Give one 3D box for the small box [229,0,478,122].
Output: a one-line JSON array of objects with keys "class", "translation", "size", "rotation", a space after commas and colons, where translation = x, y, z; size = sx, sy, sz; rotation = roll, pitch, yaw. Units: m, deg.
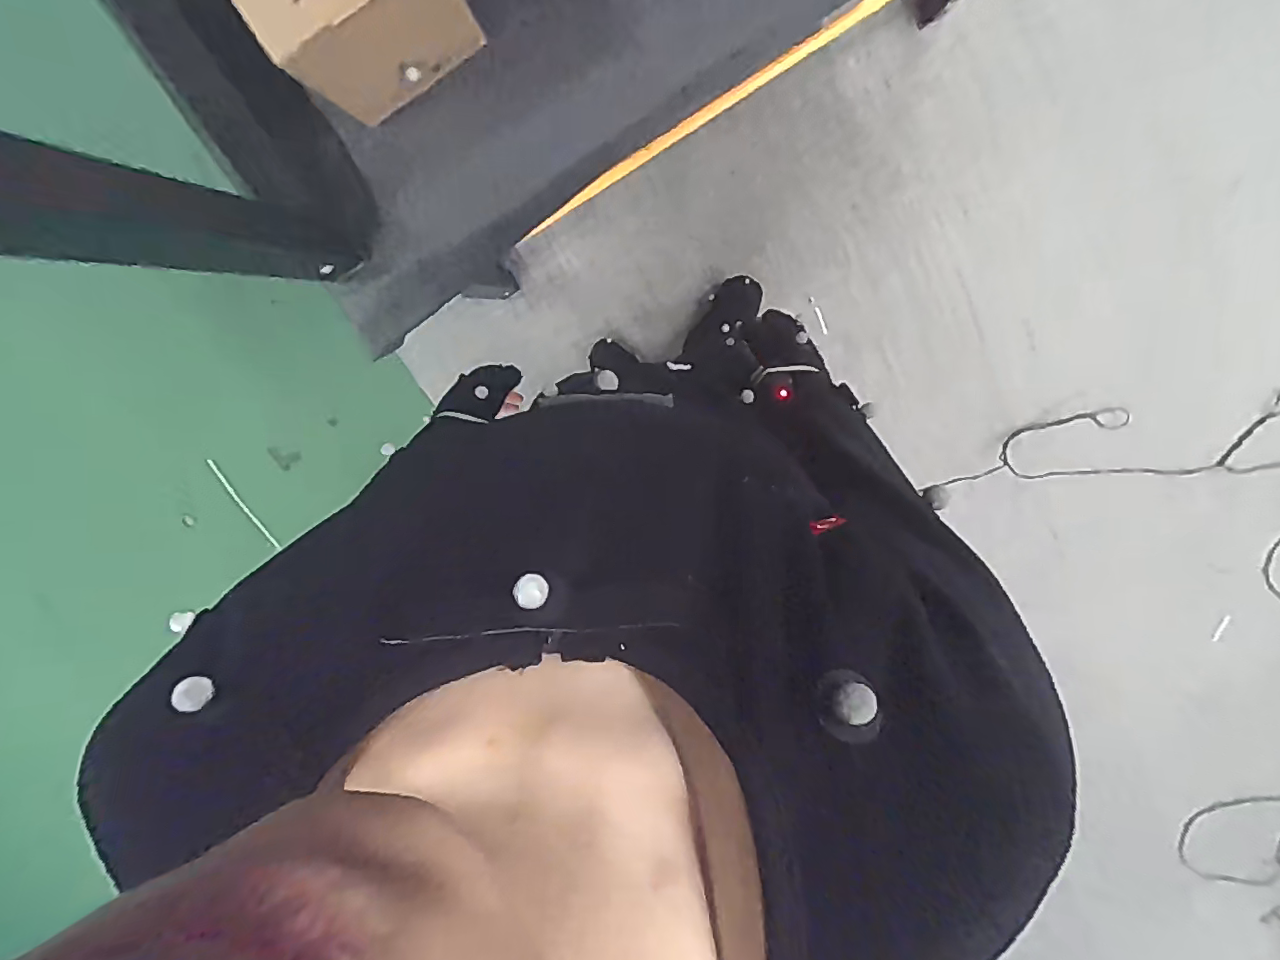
[{"class": "small box", "translation": [-0.286, -0.488, 0.508], "size": [0.168, 0.176, 0.179], "rotation": [-29, 104, 10]}]
